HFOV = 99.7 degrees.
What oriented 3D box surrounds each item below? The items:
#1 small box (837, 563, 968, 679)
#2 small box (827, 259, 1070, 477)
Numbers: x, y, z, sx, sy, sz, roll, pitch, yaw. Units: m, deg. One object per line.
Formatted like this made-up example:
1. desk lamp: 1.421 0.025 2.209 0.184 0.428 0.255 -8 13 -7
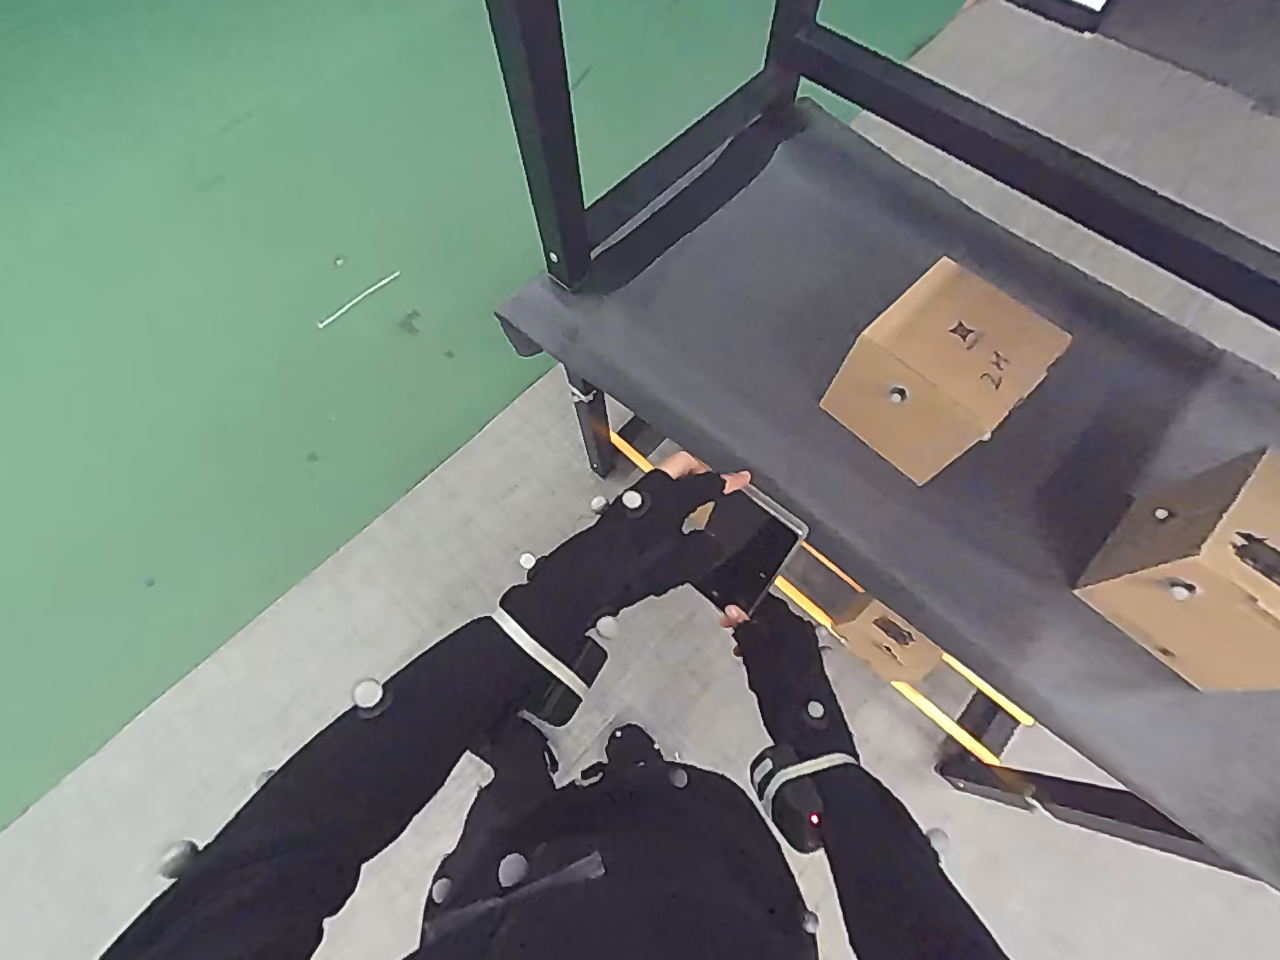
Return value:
1. small box: 0.557 0.314 1.178 0.179 0.176 0.168 -42 73 -14
2. small box: 0.372 -0.133 0.689 0.168 0.176 0.179 -42 73 -15
